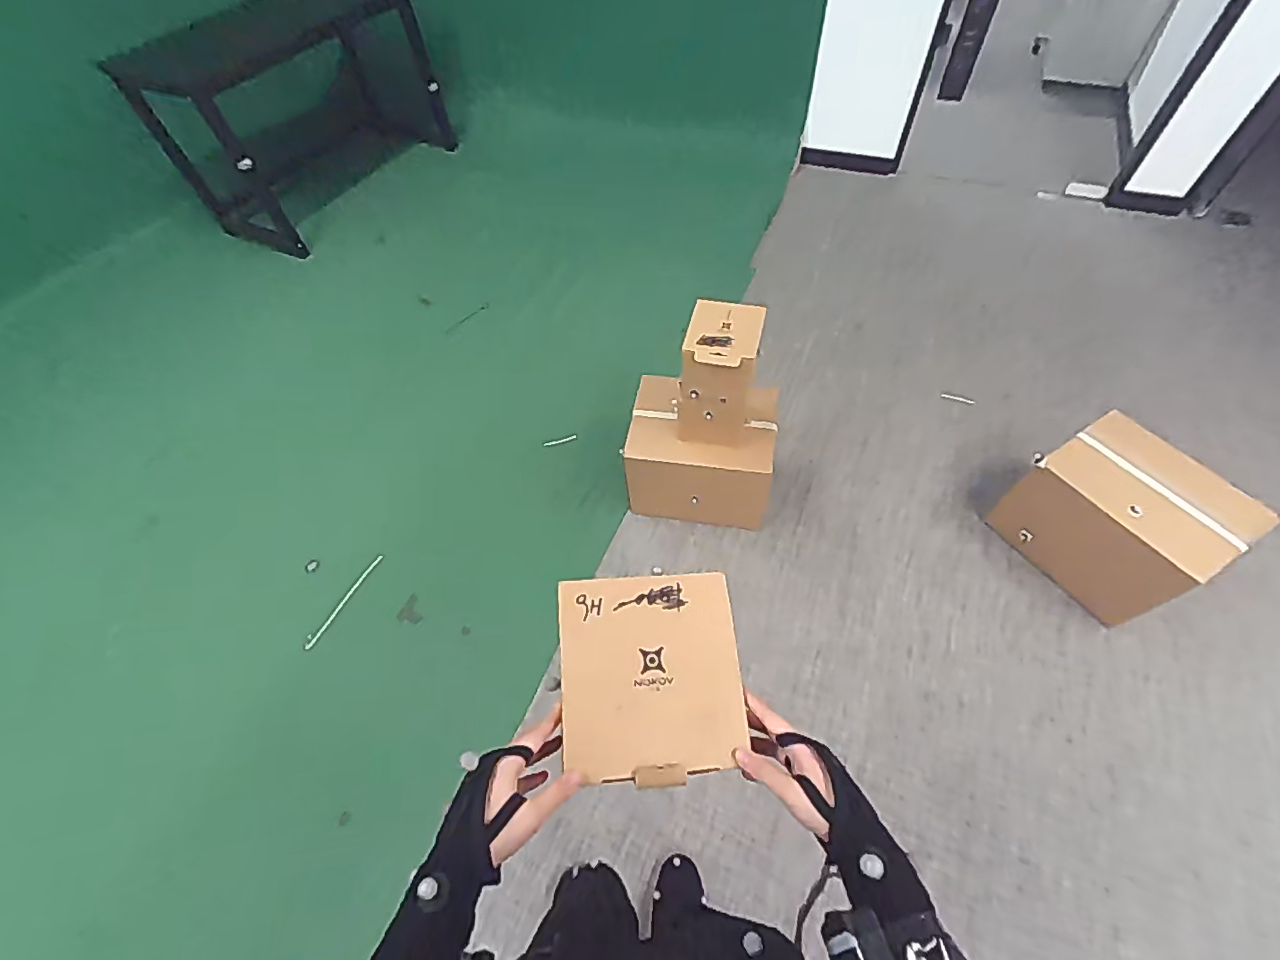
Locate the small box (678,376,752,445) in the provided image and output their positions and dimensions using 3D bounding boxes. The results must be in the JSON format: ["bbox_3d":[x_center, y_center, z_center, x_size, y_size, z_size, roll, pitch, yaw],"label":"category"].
[{"bbox_3d":[0.201,-0.210,1.427,0.179,0.176,0.168,9,59,11],"label":"small box"}]

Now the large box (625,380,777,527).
[{"bbox_3d":[0.192,-0.076,1.634,0.408,0.320,0.320,5,56,10],"label":"large box"}]

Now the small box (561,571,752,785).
[{"bbox_3d":[0.003,0.200,0.564,0.168,0.176,0.179,-1,69,-9],"label":"small box"}]

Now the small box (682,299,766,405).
[{"bbox_3d":[0.200,-0.302,1.291,0.168,0.176,0.179,11,59,12],"label":"small box"}]
